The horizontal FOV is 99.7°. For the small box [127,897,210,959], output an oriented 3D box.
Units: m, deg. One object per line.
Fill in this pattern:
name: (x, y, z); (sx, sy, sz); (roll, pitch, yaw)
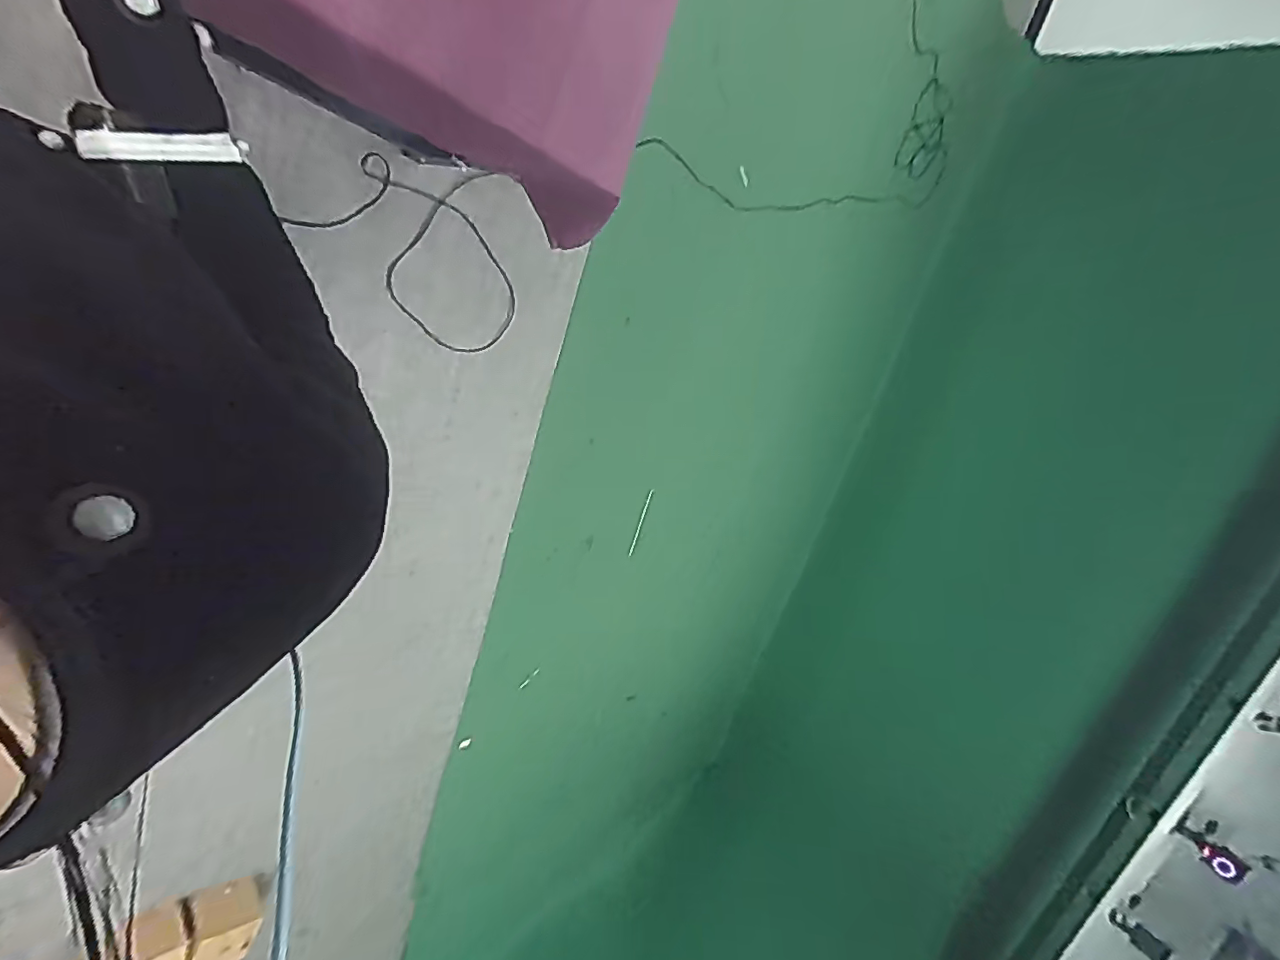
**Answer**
small box: (-1.434, 1.434, 1.640); (0.168, 0.176, 0.179); (0, 112, -49)
